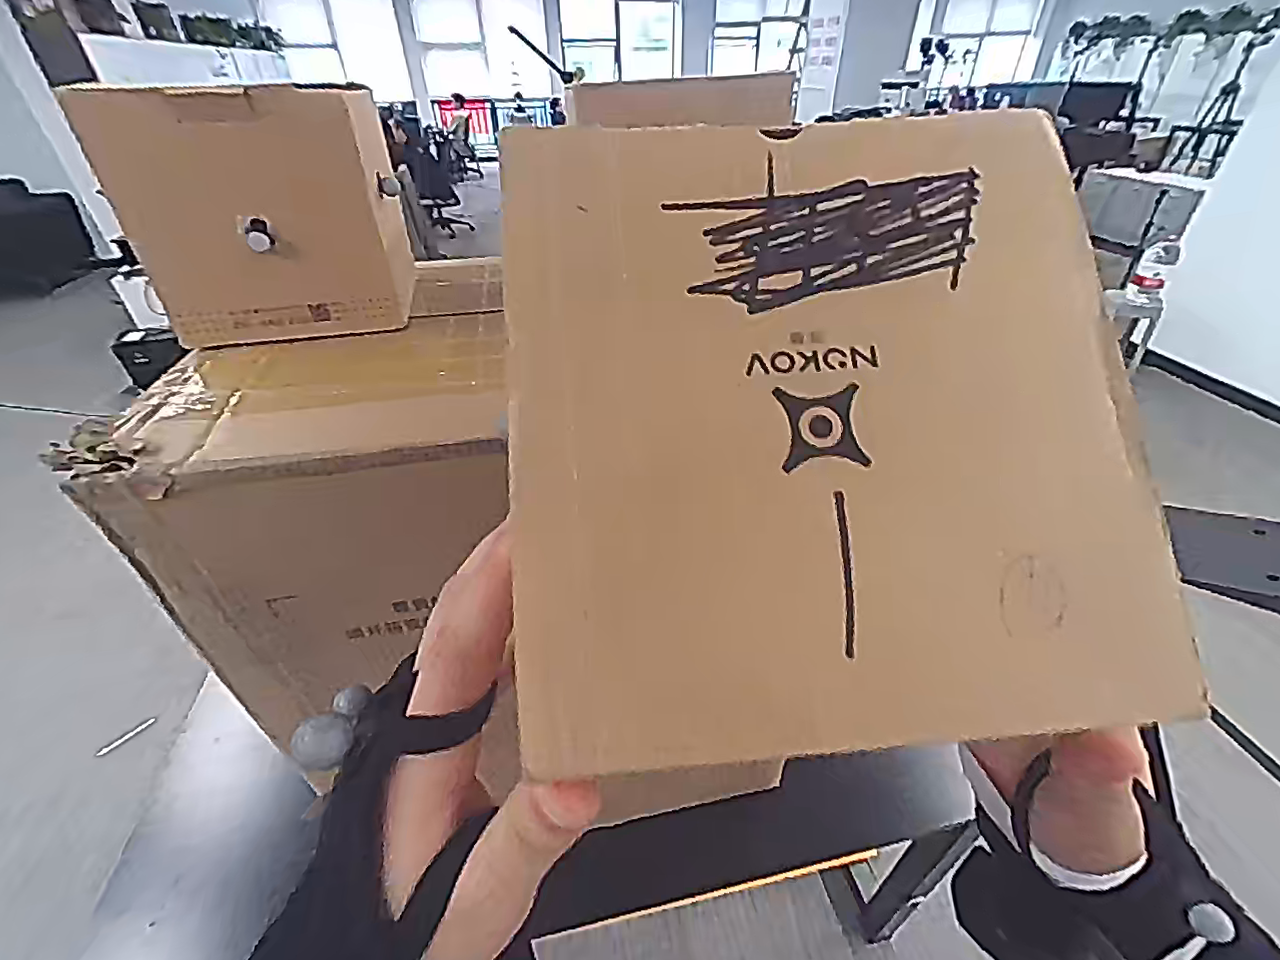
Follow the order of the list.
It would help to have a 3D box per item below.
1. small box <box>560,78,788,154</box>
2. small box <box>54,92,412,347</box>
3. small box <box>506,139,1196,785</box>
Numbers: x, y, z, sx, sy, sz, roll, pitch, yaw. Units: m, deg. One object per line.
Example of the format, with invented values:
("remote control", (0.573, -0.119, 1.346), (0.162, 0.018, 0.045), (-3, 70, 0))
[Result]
("small box", (0.020, -0.261, 0.501), (0.168, 0.176, 0.179), (-9, 37, -5))
("small box", (-0.302, -0.220, 0.458), (0.168, 0.176, 0.179), (-10, 37, -13))
("small box", (0.043, 0.001, 0.223), (0.168, 0.176, 0.179), (-4, 77, -2))
